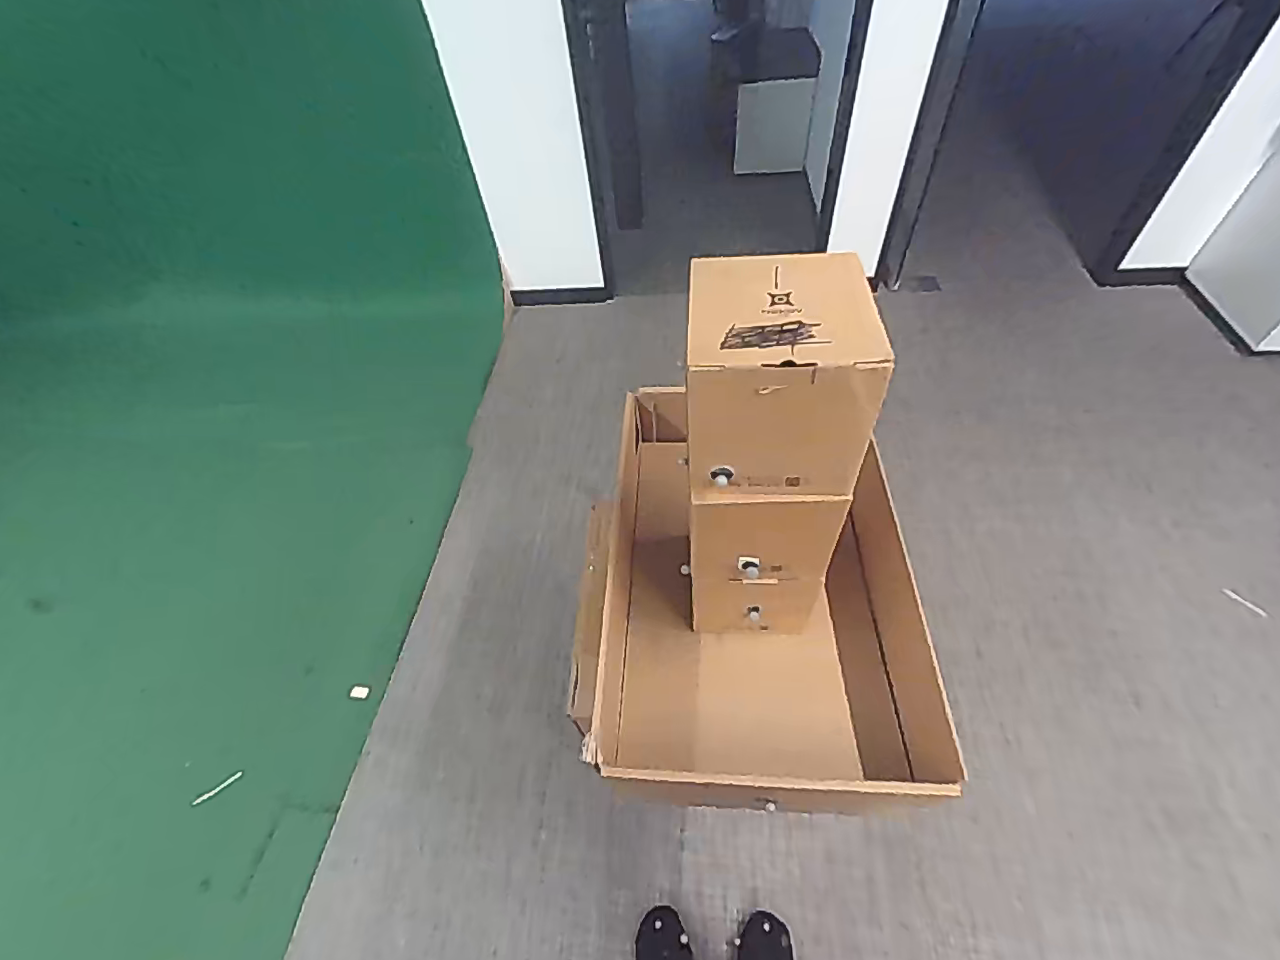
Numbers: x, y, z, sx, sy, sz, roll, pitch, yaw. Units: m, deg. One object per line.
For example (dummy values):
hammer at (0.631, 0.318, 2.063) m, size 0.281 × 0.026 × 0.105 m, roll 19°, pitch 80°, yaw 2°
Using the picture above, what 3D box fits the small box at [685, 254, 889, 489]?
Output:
small box at (0.133, -0.105, 0.552) m, size 0.168 × 0.176 × 0.179 m, roll 1°, pitch 50°, yaw 6°

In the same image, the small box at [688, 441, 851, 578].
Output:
small box at (0.144, 0.005, 0.674) m, size 0.168 × 0.176 × 0.179 m, roll -2°, pitch 52°, yaw 4°
